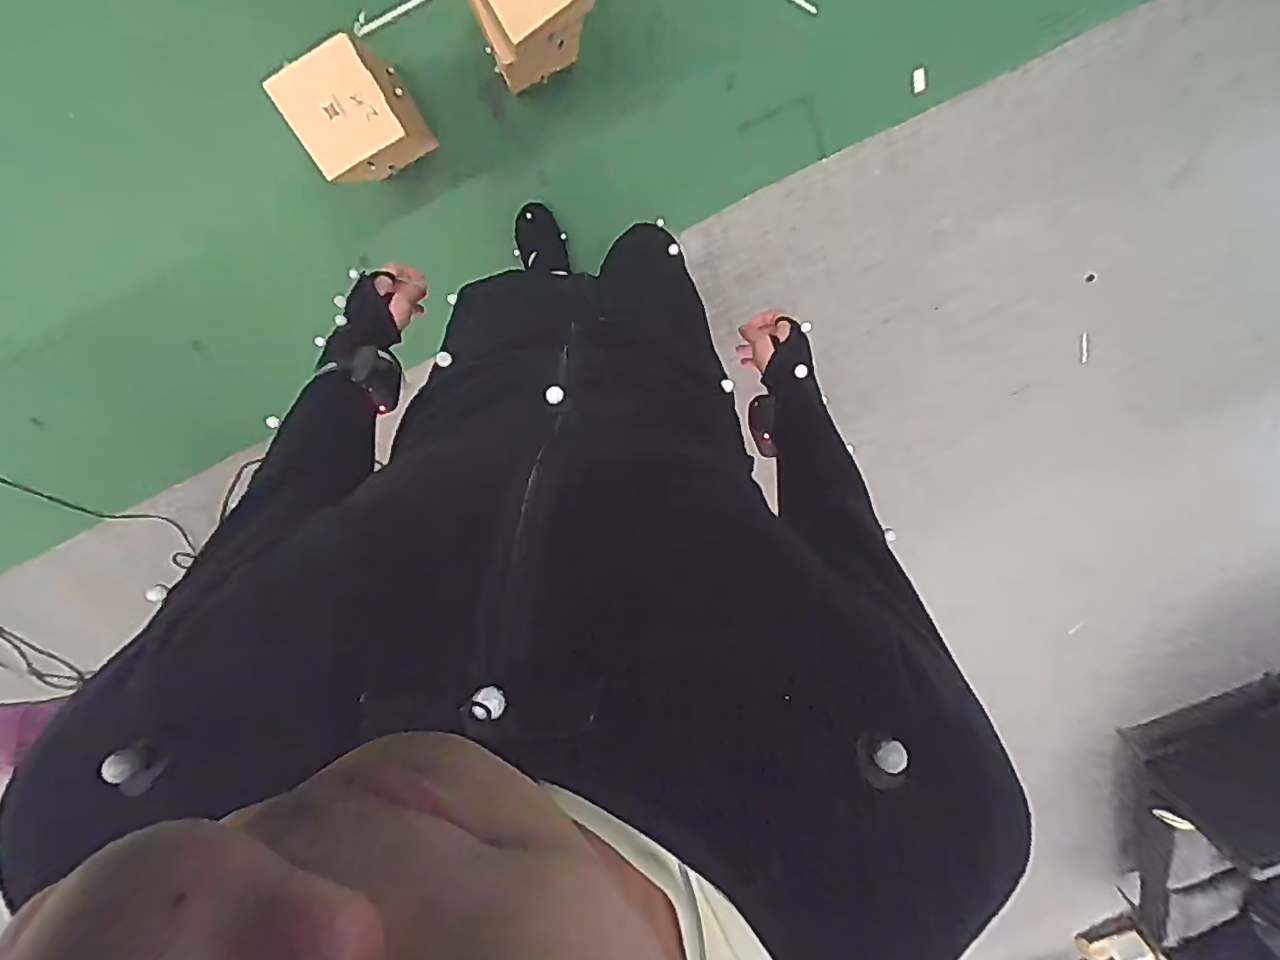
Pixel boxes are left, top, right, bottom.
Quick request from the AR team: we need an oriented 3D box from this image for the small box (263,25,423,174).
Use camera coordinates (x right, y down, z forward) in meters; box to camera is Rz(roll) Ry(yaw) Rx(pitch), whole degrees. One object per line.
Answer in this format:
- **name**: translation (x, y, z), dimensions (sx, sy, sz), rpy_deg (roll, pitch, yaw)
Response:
- **small box**: translation (-0.541, -0.697, 1.016), dimensions (0.179, 0.176, 0.168), rpy_deg (-26, 119, 6)

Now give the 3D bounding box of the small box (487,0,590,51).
- **small box**: translation (-0.175, -0.806, 0.823), dimensions (0.168, 0.176, 0.179), rpy_deg (-31, 121, 8)

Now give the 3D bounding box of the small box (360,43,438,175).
- **small box**: translation (-0.562, -0.782, 1.156), dimensions (0.168, 0.176, 0.179), rpy_deg (-26, 119, 7)

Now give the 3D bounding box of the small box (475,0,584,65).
- **small box**: translation (-0.214, -0.879, 0.965), dimensions (0.168, 0.176, 0.179), rpy_deg (-27, 120, 5)
